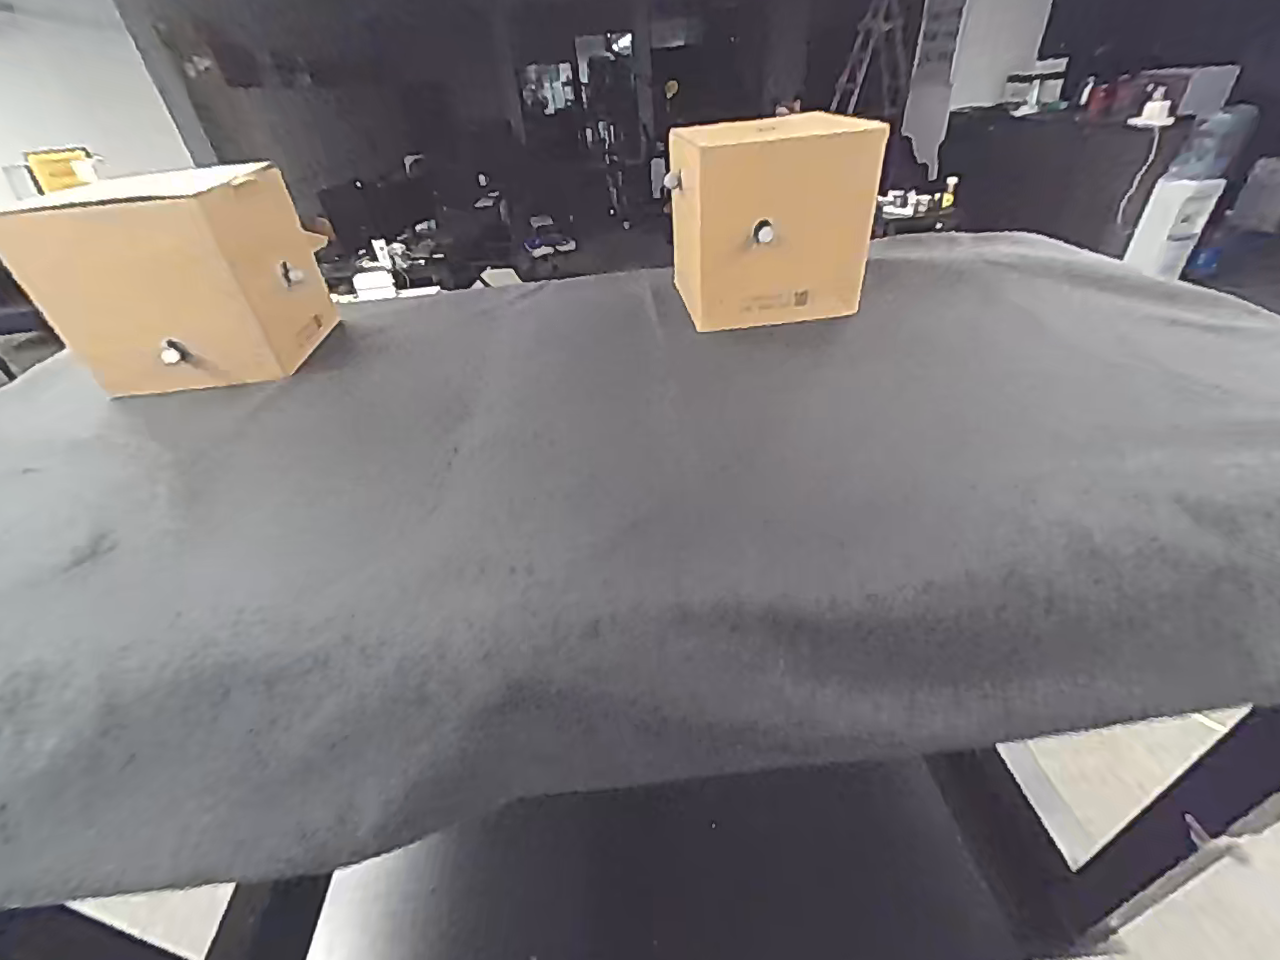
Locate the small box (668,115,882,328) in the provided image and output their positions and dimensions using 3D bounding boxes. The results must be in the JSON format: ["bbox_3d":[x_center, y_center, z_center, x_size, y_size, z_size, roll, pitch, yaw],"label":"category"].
[{"bbox_3d":[0.126,-0.267,0.567,0.168,0.176,0.179,-7,37,-2],"label":"small box"}]

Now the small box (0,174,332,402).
[{"bbox_3d":[-0.446,-0.194,0.543,0.179,0.176,0.168,-7,37,-4],"label":"small box"}]
